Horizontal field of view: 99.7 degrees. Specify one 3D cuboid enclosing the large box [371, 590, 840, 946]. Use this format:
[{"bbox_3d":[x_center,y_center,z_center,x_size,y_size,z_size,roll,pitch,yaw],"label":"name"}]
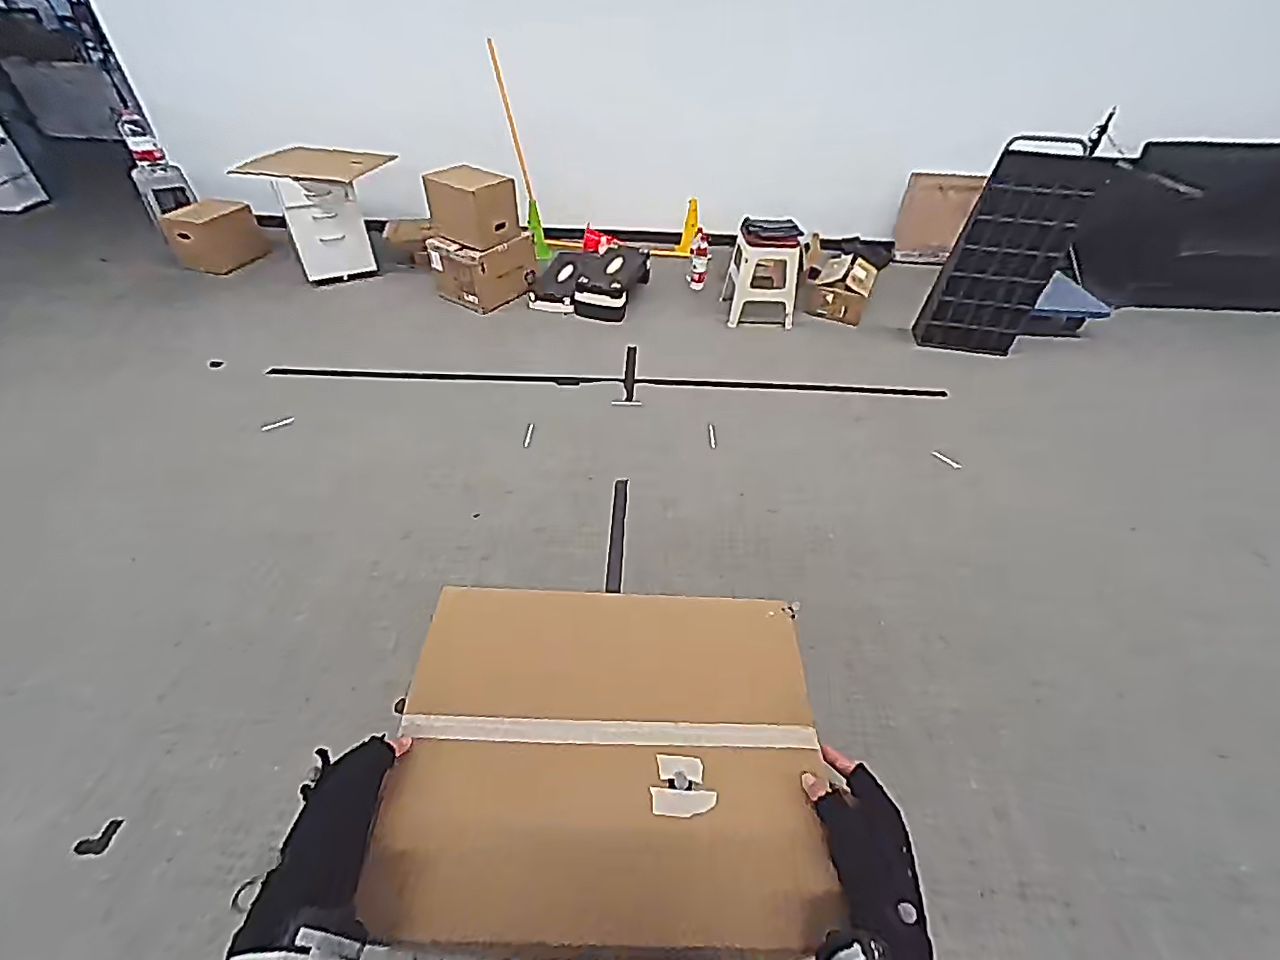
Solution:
[{"bbox_3d":[-0.035,0.354,0.659,0.408,0.320,0.320,3,47,-2],"label":"large box"}]
